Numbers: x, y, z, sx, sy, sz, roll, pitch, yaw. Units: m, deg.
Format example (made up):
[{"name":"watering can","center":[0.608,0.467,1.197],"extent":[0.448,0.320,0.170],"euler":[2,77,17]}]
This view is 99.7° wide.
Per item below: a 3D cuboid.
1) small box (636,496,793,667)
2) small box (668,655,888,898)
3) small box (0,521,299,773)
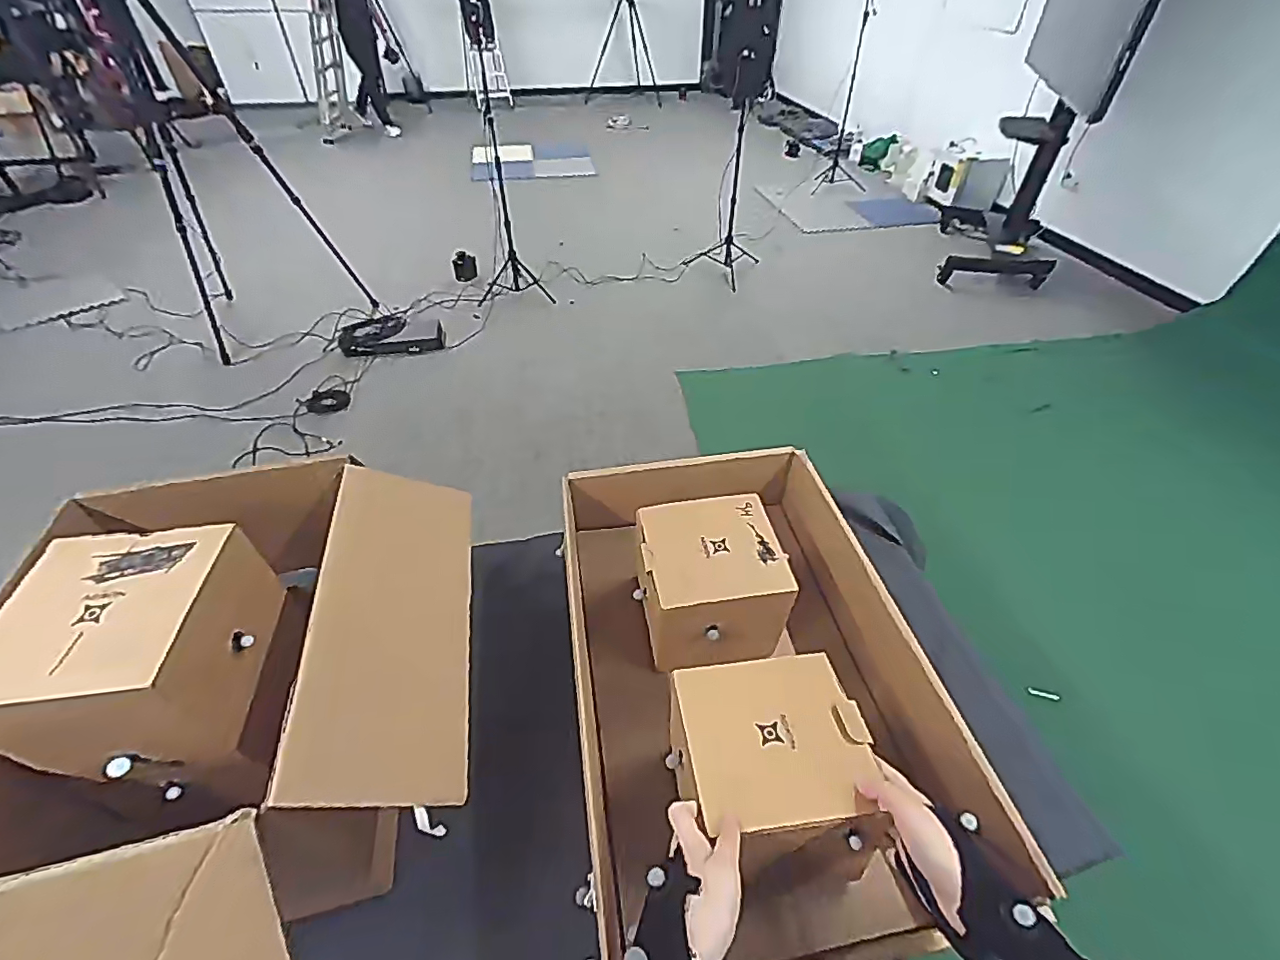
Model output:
[{"name":"small box","center":[0.093,0.147,0.764],"extent":[0.179,0.176,0.168],"euler":[-7,48,-6]},{"name":"small box","center":[0.127,0.316,0.580],"extent":[0.179,0.176,0.168],"euler":[-5,37,-6]},{"name":"small box","center":[-0.474,0.164,0.537],"extent":[0.168,0.176,0.179],"euler":[-5,47,-6]}]
